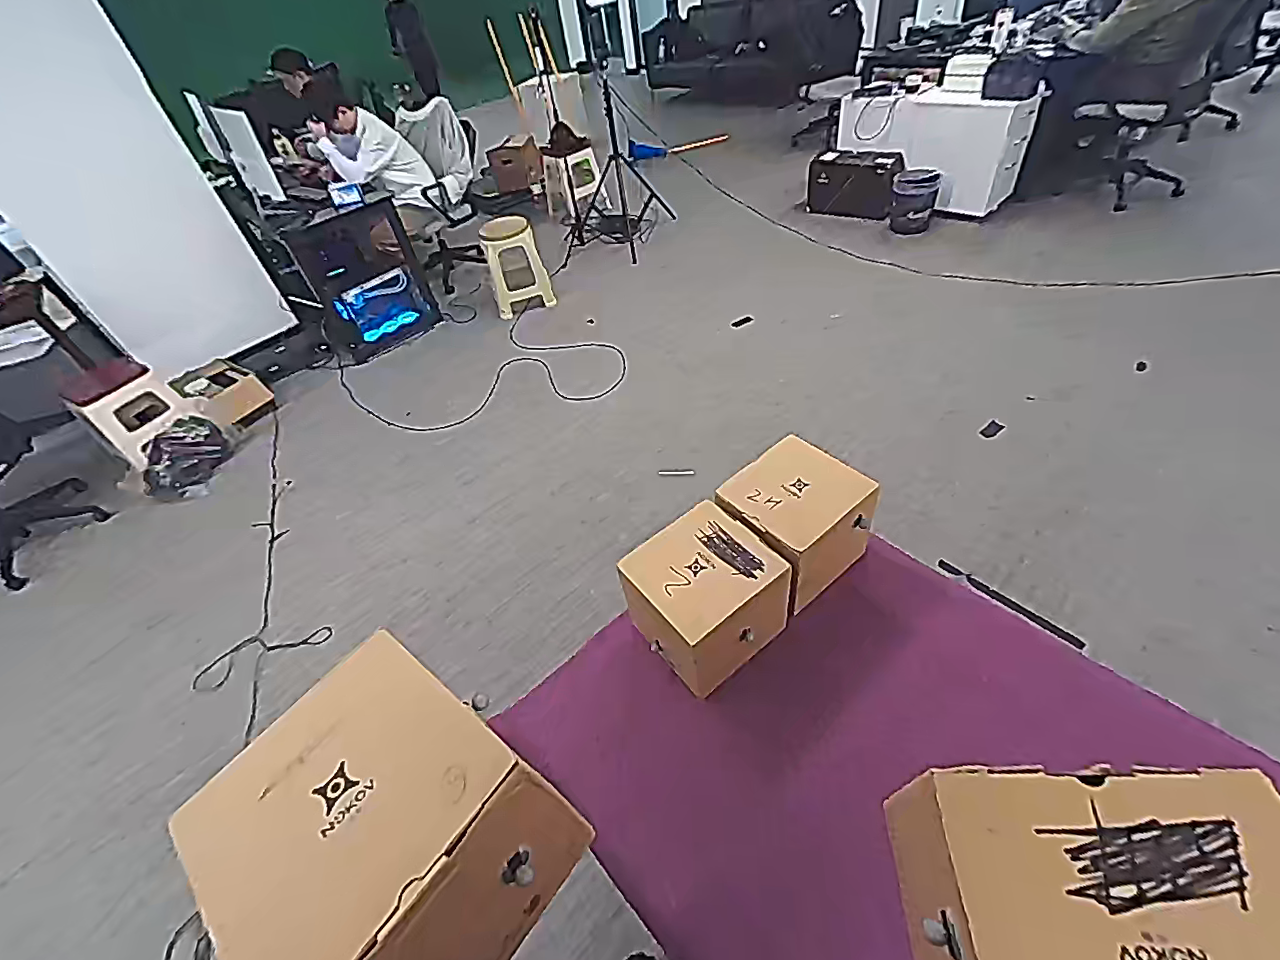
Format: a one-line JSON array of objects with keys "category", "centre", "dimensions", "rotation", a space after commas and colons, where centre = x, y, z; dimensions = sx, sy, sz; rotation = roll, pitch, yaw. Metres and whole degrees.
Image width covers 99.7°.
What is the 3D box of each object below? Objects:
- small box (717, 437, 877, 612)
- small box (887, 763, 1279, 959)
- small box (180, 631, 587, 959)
[{"category": "small box", "centre": [0.238, 0.069, 0.853], "dimensions": [0.179, 0.176, 0.168], "rotation": [-34, 49, -20]}, {"category": "small box", "centre": [0.258, 0.277, 0.315], "dimensions": [0.168, 0.176, 0.179], "rotation": [-5, 54, 10]}, {"category": "small box", "centre": [-0.165, 0.251, 0.391], "dimensions": [0.179, 0.176, 0.168], "rotation": [21, 54, 35]}]
